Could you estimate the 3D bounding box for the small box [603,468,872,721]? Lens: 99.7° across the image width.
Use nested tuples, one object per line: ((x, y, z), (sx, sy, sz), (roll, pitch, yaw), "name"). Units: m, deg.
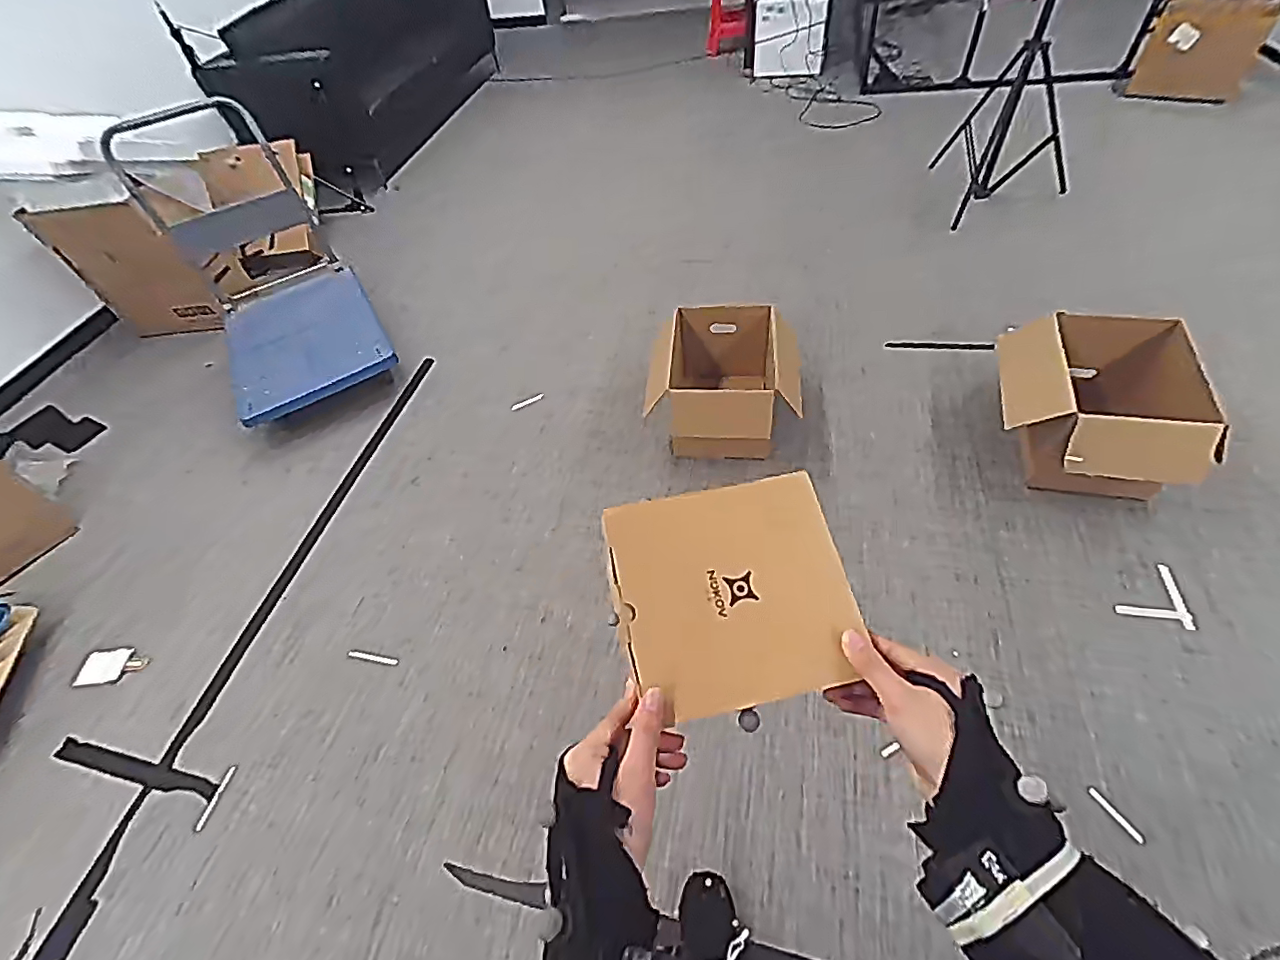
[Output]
((0.068, 0.109, 0.486), (0.179, 0.176, 0.168), (-11, 67, -5), "small box")
